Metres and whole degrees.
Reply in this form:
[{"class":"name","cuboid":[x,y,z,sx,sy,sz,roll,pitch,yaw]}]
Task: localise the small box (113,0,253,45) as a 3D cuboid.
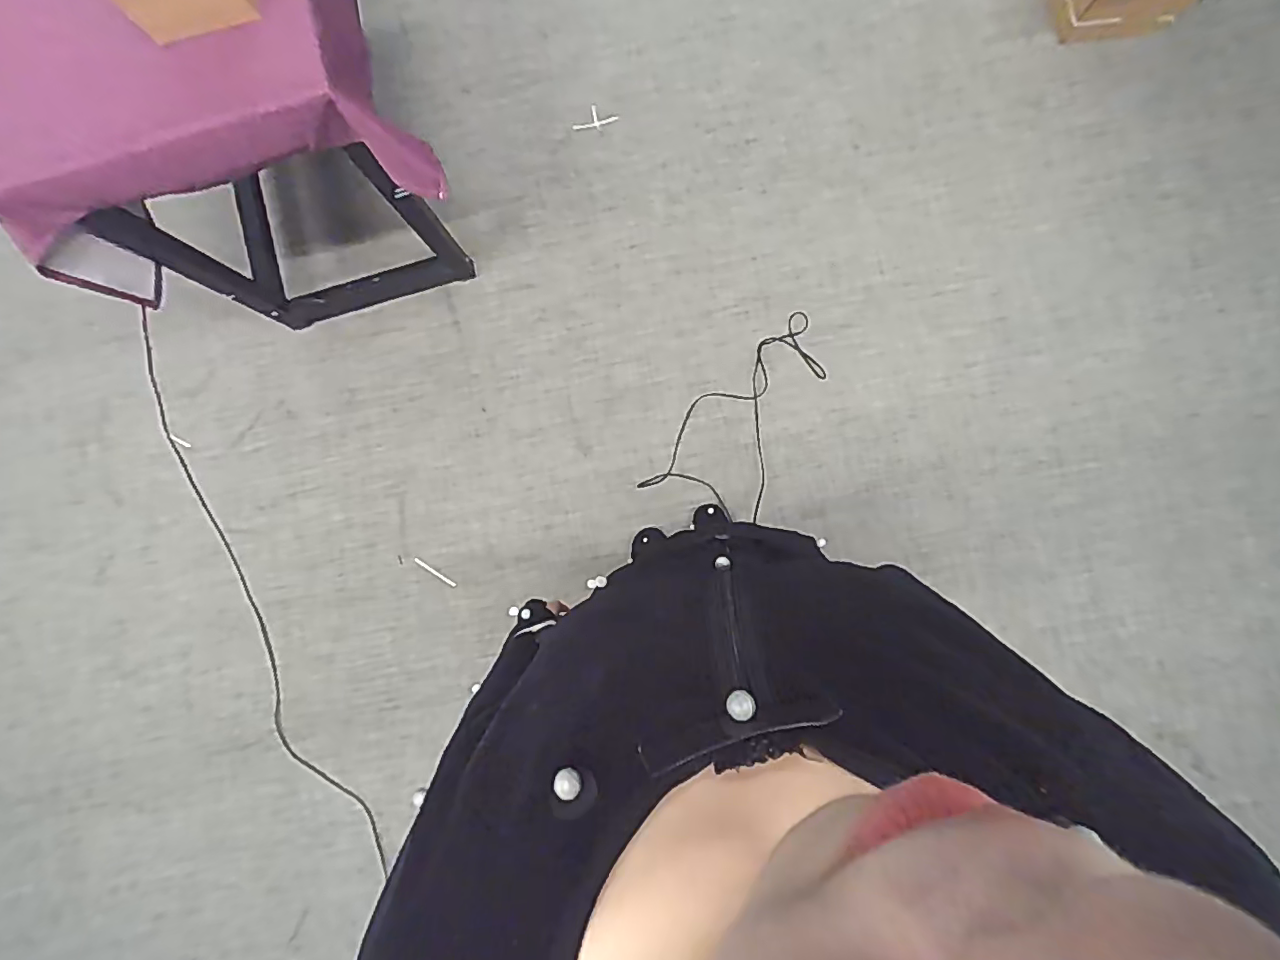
[{"class":"small box","cuboid":[-0.718,-0.809,0.807,0.179,0.176,0.168,-12,85,3]}]
